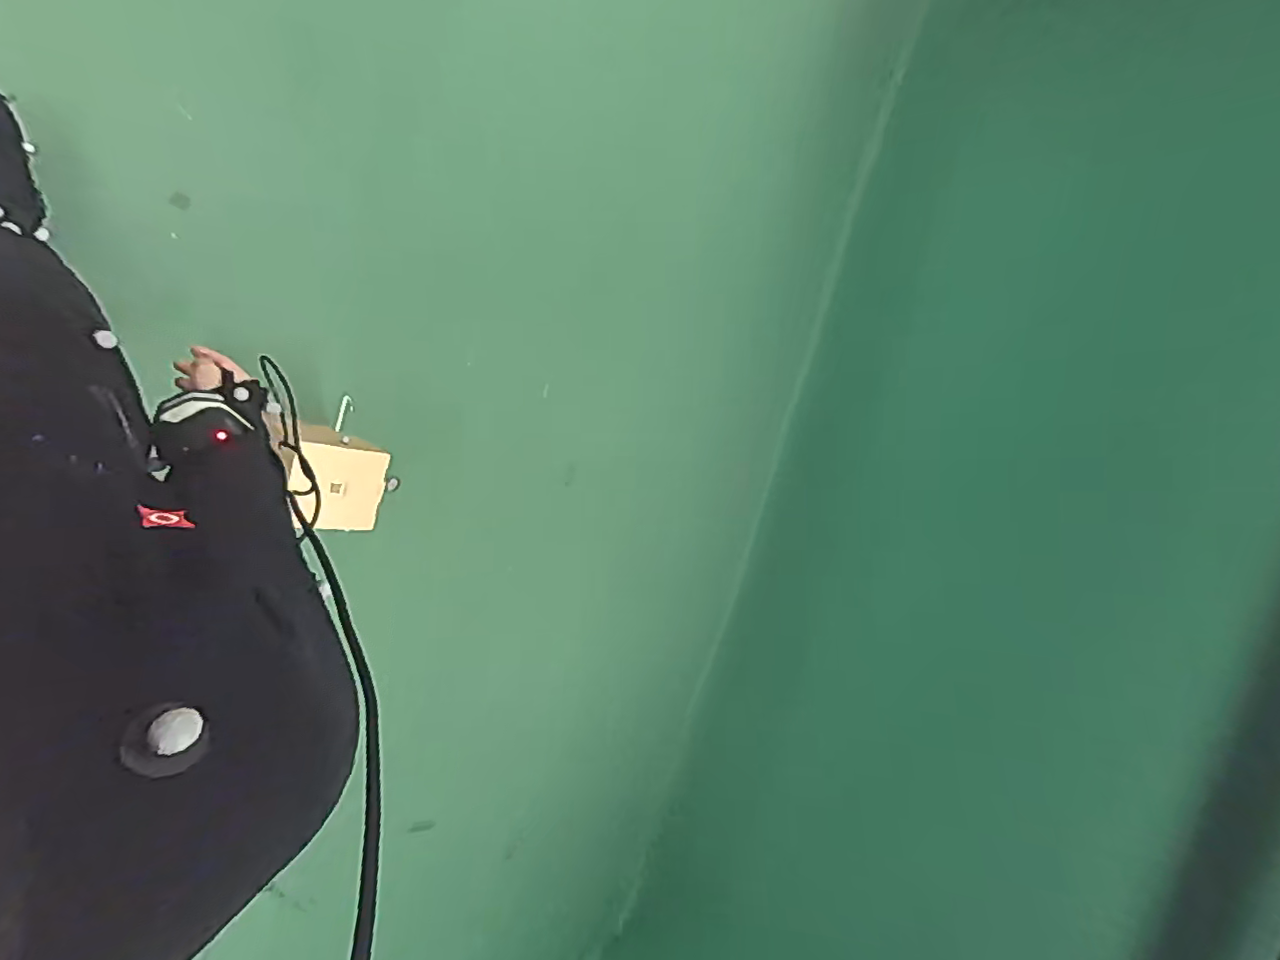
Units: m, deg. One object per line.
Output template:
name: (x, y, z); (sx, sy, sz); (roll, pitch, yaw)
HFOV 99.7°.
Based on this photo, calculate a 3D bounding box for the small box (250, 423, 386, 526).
small box: (-0.652, -0.012, 1.089); (0.179, 0.176, 0.168); (9, 97, -53)
